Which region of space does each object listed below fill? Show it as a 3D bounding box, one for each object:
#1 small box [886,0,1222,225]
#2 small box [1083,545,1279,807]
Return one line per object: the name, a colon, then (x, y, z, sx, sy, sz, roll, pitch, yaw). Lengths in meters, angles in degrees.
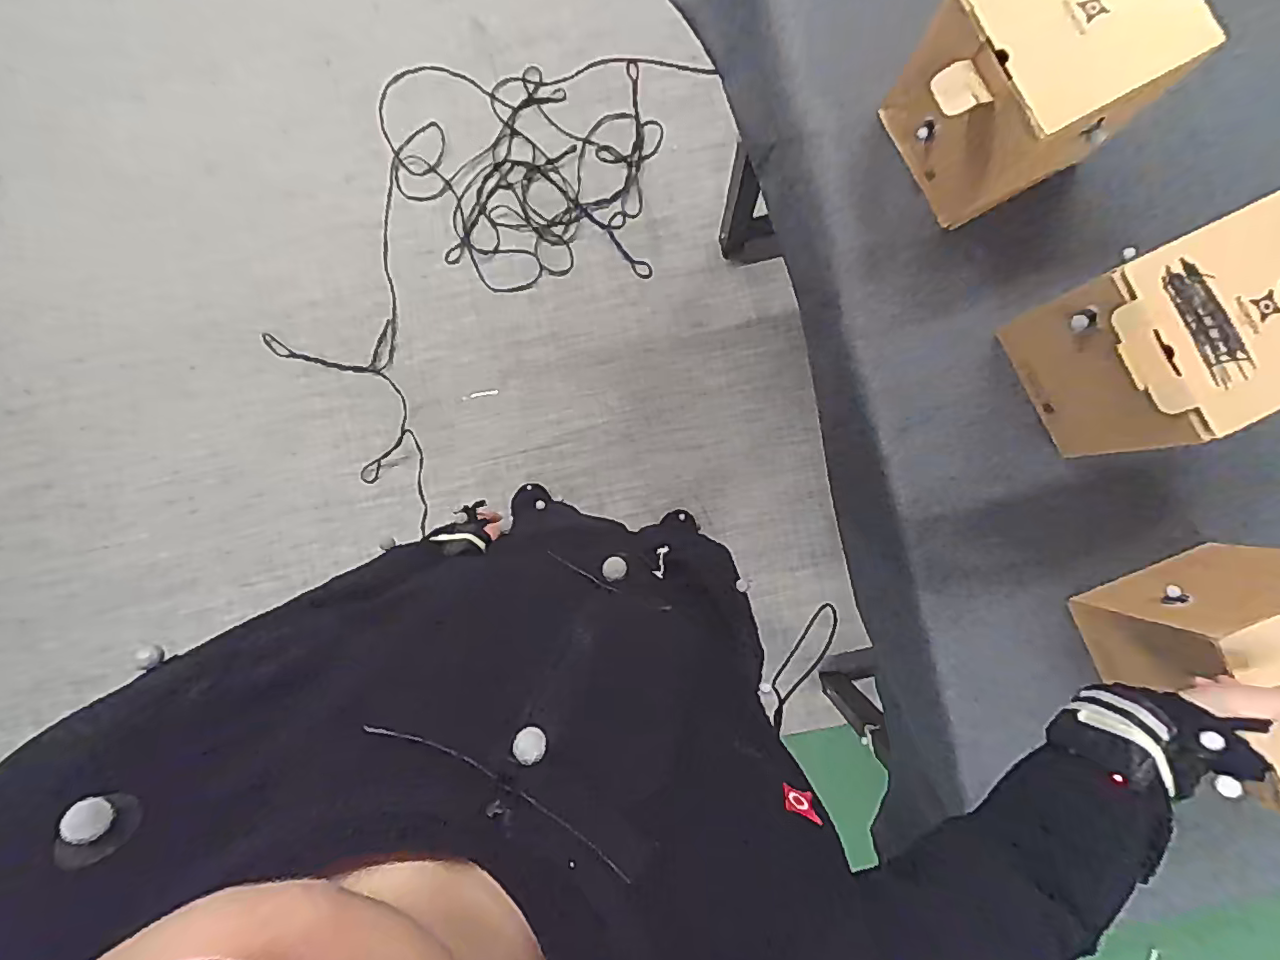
small box: (0.391, -0.402, 0.548, 0.179, 0.176, 0.168, -28, 88, 2)
small box: (0.585, 0.174, 0.523, 0.179, 0.176, 0.168, -23, 88, 0)
